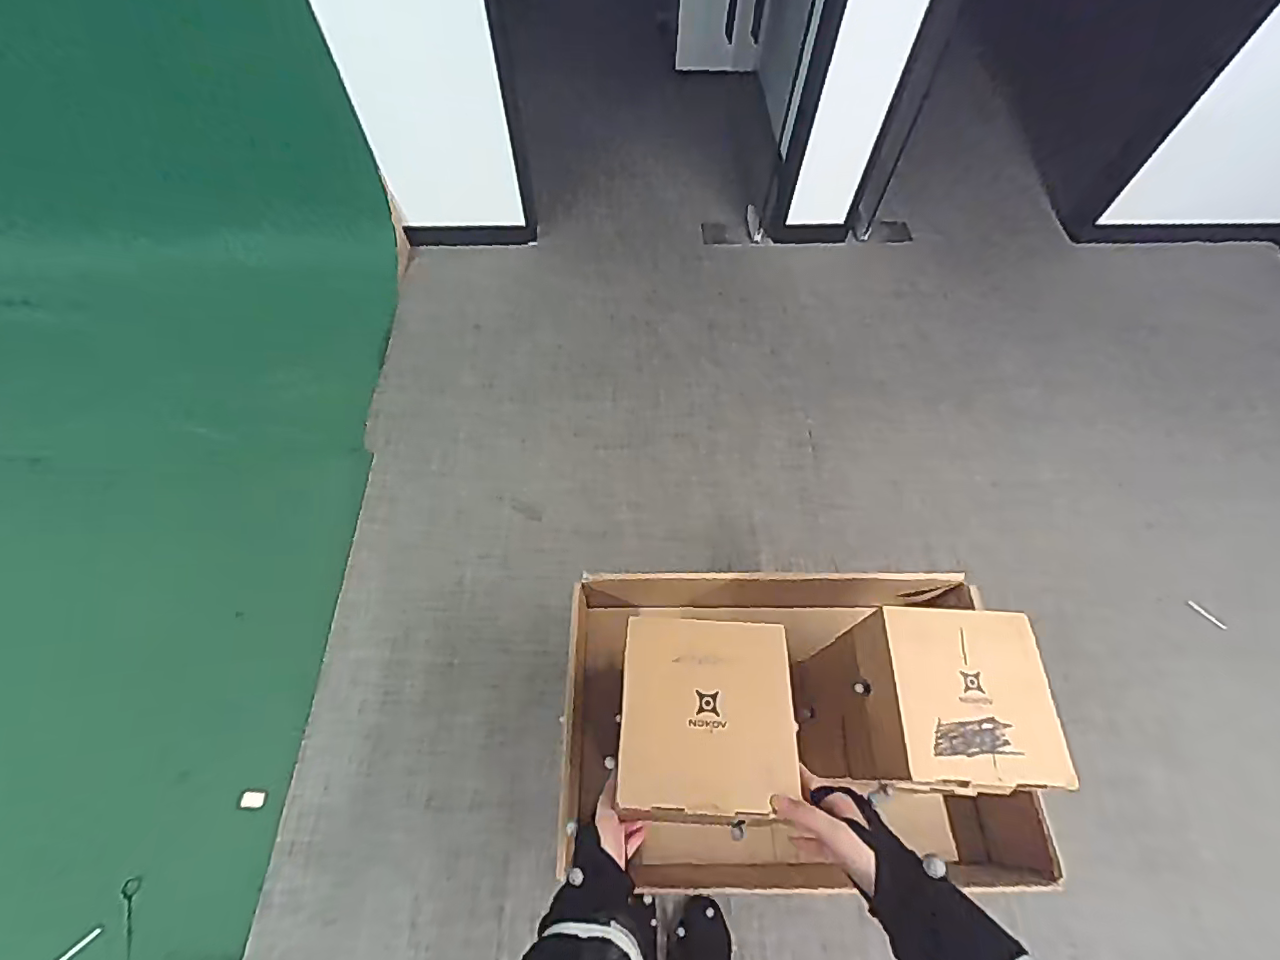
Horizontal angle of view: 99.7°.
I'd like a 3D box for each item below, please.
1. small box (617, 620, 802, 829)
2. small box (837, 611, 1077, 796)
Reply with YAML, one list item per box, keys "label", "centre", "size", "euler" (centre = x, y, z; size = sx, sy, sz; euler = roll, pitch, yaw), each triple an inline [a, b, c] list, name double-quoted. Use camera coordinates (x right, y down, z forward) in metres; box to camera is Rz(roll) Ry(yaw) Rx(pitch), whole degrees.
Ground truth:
- label: "small box"
  centre: [0.066, 0.269, 0.585]
  size: [0.168, 0.176, 0.179]
  euler: [3, 55, 1]
- label: "small box"
  centre: [0.349, 0.267, 0.638]
  size: [0.168, 0.176, 0.179]
  euler: [3, 60, 0]
